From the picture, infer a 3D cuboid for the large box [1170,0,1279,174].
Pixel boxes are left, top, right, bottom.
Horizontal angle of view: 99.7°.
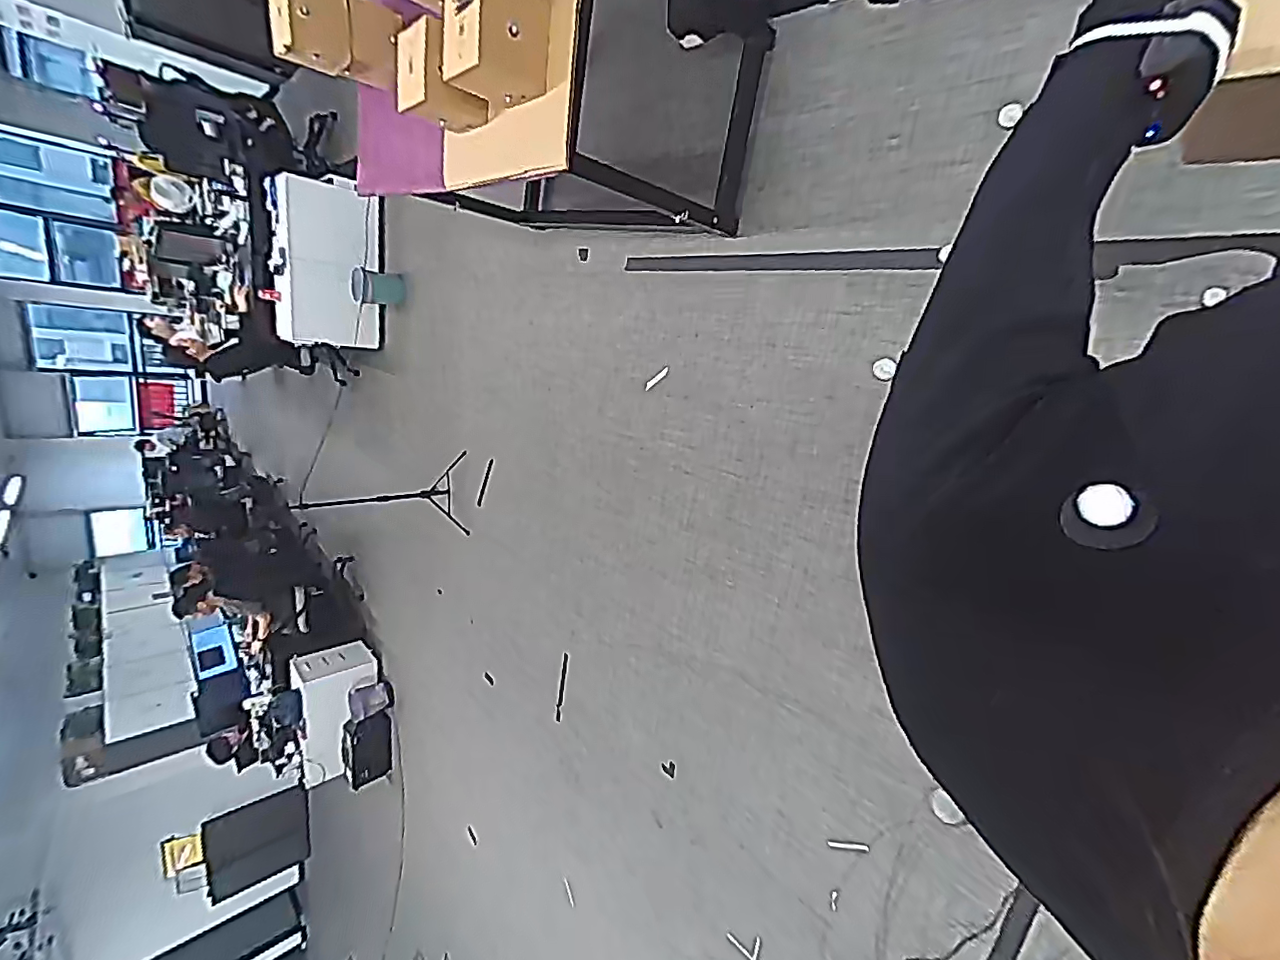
[{"bbox_3d":[0.650,-0.411,0.335,0.408,0.320,0.320,21,116,41],"label":"large box"}]
